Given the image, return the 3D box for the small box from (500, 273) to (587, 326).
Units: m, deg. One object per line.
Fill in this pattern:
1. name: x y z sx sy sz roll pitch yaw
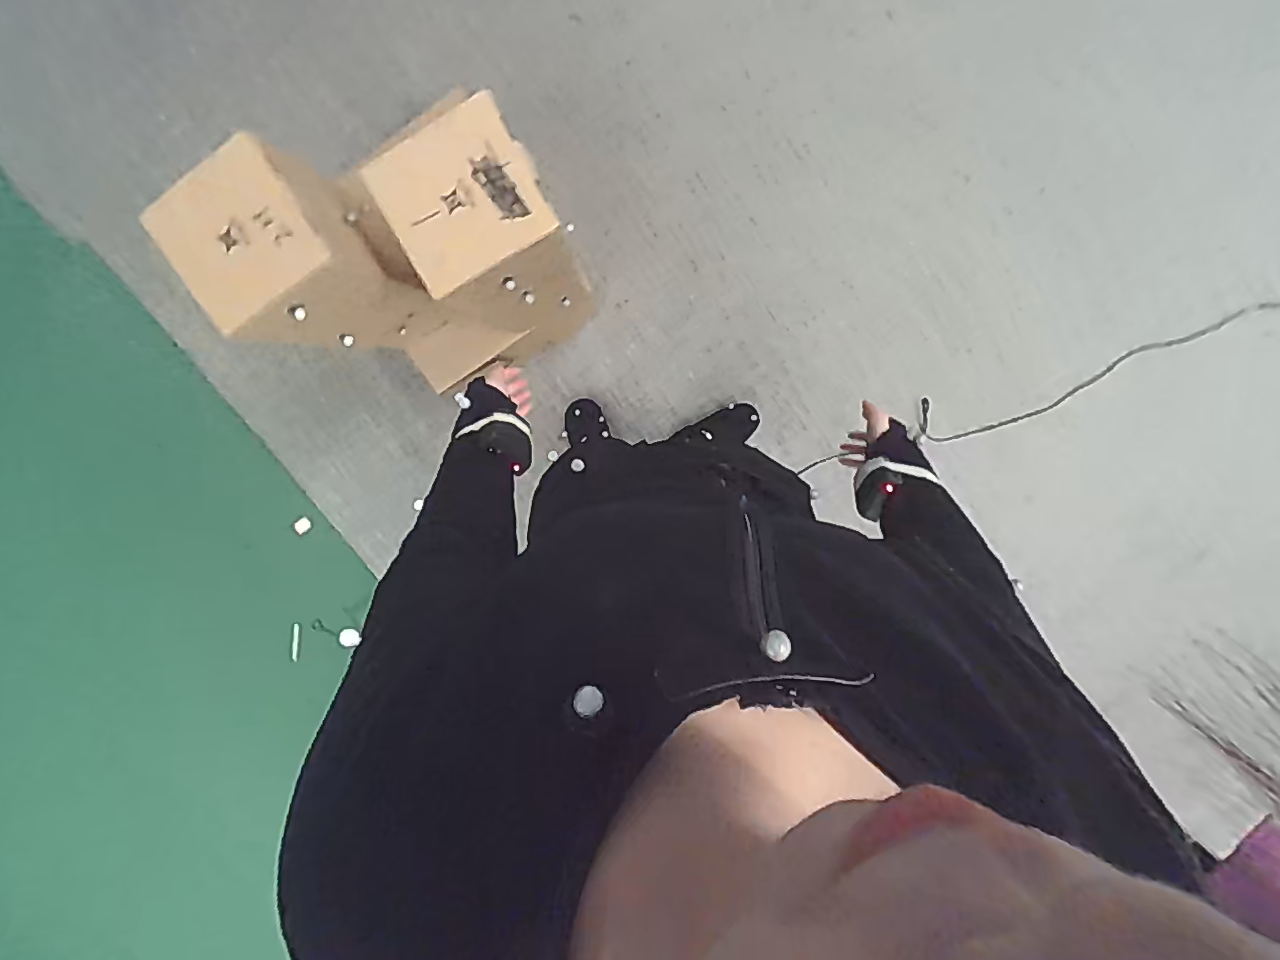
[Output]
1. small box: -0.213 -0.405 1.017 0.168 0.176 0.179 -28 98 6

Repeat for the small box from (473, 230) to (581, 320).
1. small box: -0.204 -0.372 0.858 0.179 0.176 0.168 -28 99 6

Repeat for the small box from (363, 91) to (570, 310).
1. small box: -0.203 -0.339 0.697 0.179 0.176 0.168 -27 99 7

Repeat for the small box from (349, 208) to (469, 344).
1. small box: -0.460 -0.378 1.032 0.168 0.176 0.179 -28 98 8

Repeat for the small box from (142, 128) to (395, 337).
1. small box: -0.467 -0.303 0.710 0.179 0.176 0.168 -30 98 8
